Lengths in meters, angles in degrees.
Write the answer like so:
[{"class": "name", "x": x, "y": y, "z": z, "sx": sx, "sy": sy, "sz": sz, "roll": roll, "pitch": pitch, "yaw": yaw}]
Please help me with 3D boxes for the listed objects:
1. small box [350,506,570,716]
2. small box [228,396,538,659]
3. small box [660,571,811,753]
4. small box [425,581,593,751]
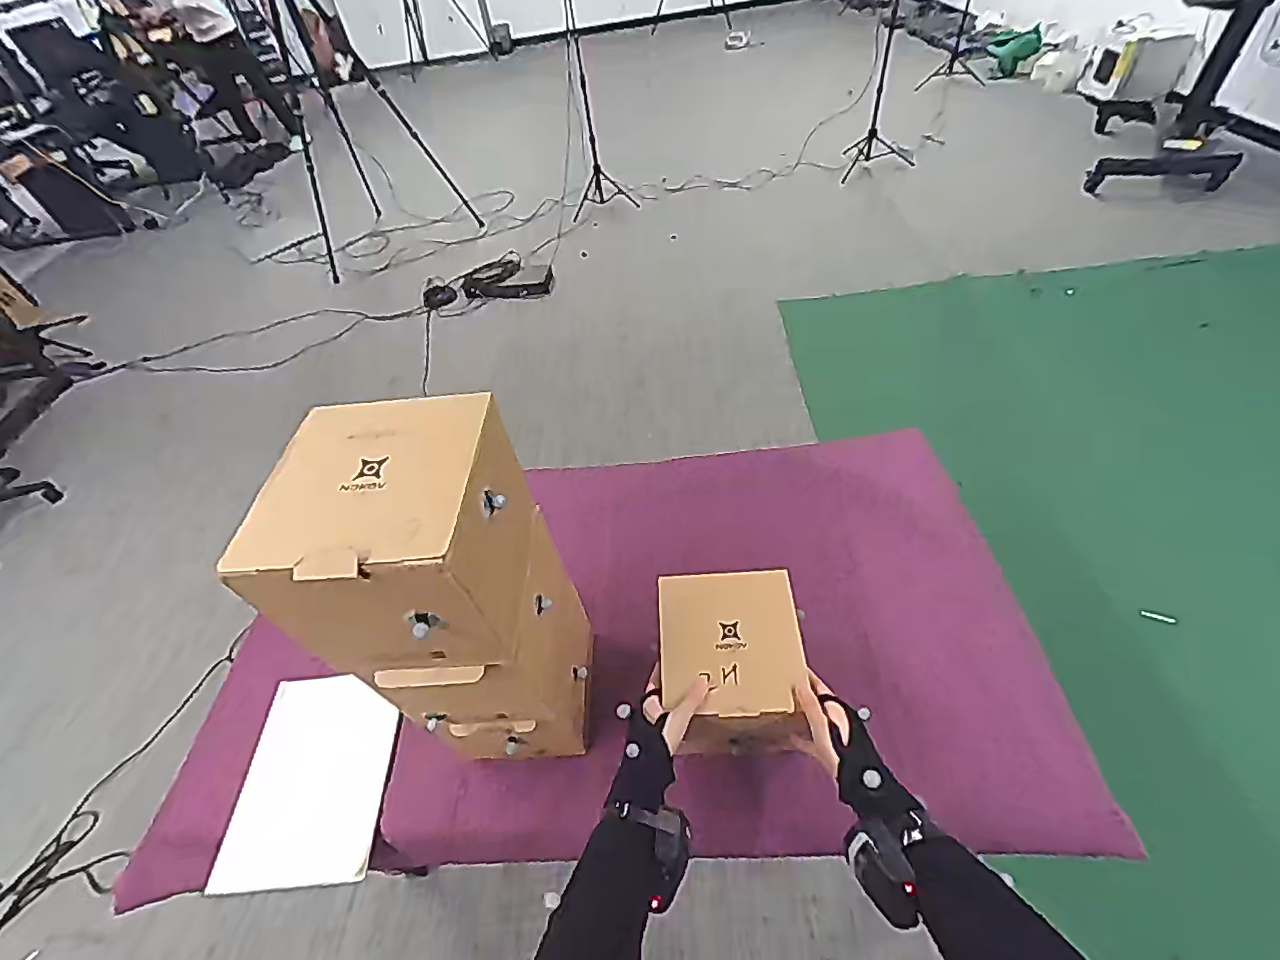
[{"class": "small box", "x": -0.179, "y": 0.153, "z": 0.607, "sx": 0.168, "sy": 0.176, "sz": 0.179, "roll": -5, "pitch": 47, "yaw": 5}, {"class": "small box", "x": -0.198, "y": 0.049, "z": 0.483, "sx": 0.168, "sy": 0.176, "sz": 0.179, "roll": -3, "pitch": 48, "yaw": 5}, {"class": "small box", "x": 0.113, "y": 0.238, "z": 0.702, "sx": 0.168, "sy": 0.176, "sz": 0.179, "roll": -5, "pitch": 50, "yaw": 6}, {"class": "small box", "x": -0.161, "y": 0.257, "z": 0.733, "sx": 0.168, "sy": 0.176, "sz": 0.179, "roll": -4, "pitch": 49, "yaw": 4}]
